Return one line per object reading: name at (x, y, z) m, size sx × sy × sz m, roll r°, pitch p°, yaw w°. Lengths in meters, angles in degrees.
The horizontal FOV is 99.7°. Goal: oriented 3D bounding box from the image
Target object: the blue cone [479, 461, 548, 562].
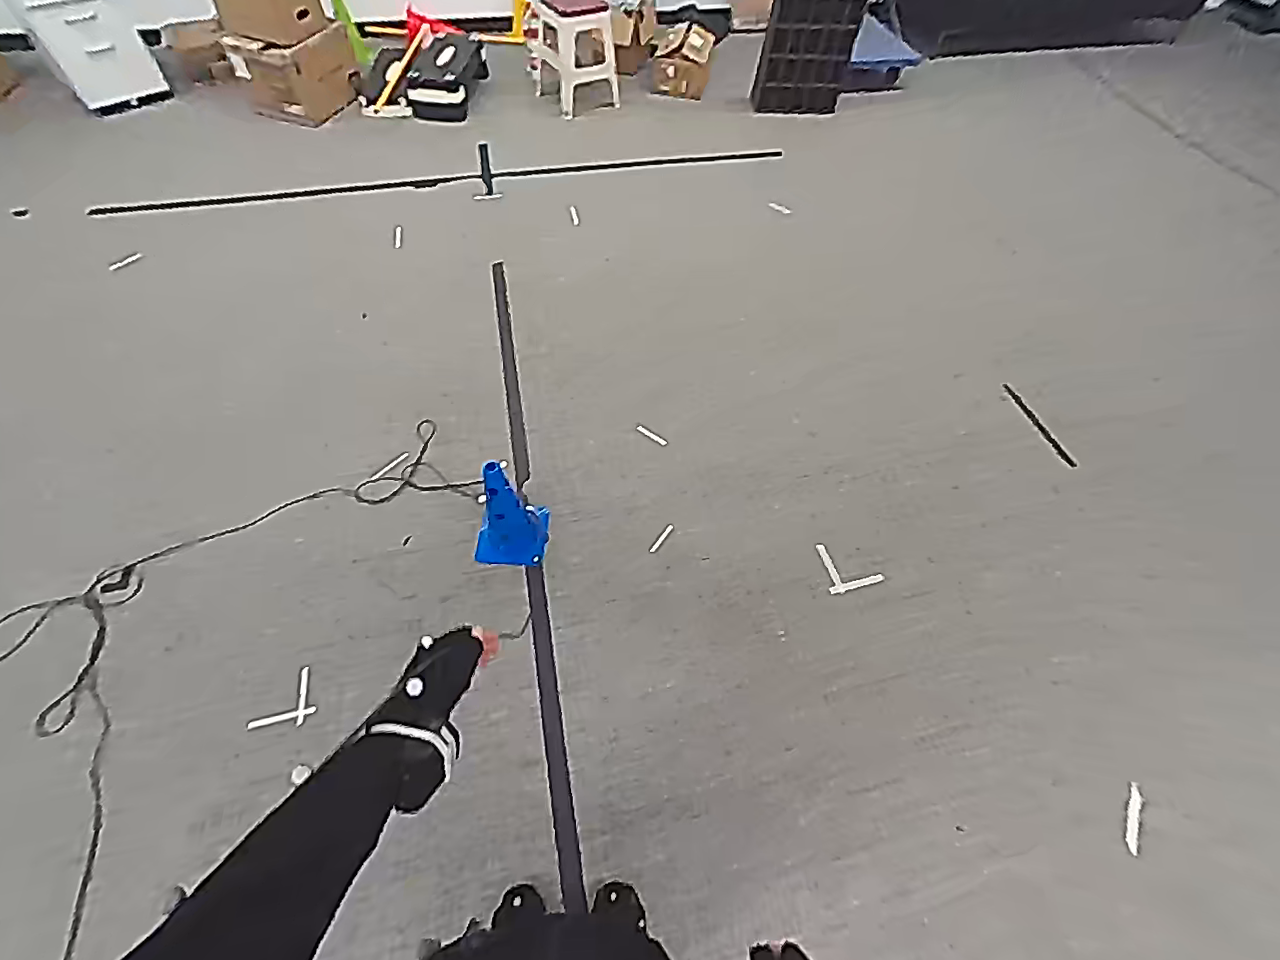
blue cone at (-0.369, 0.068, 1.487) m, size 0.192 × 0.380 × 0.193 m, roll 5°, pitch 56°, yaw -1°
